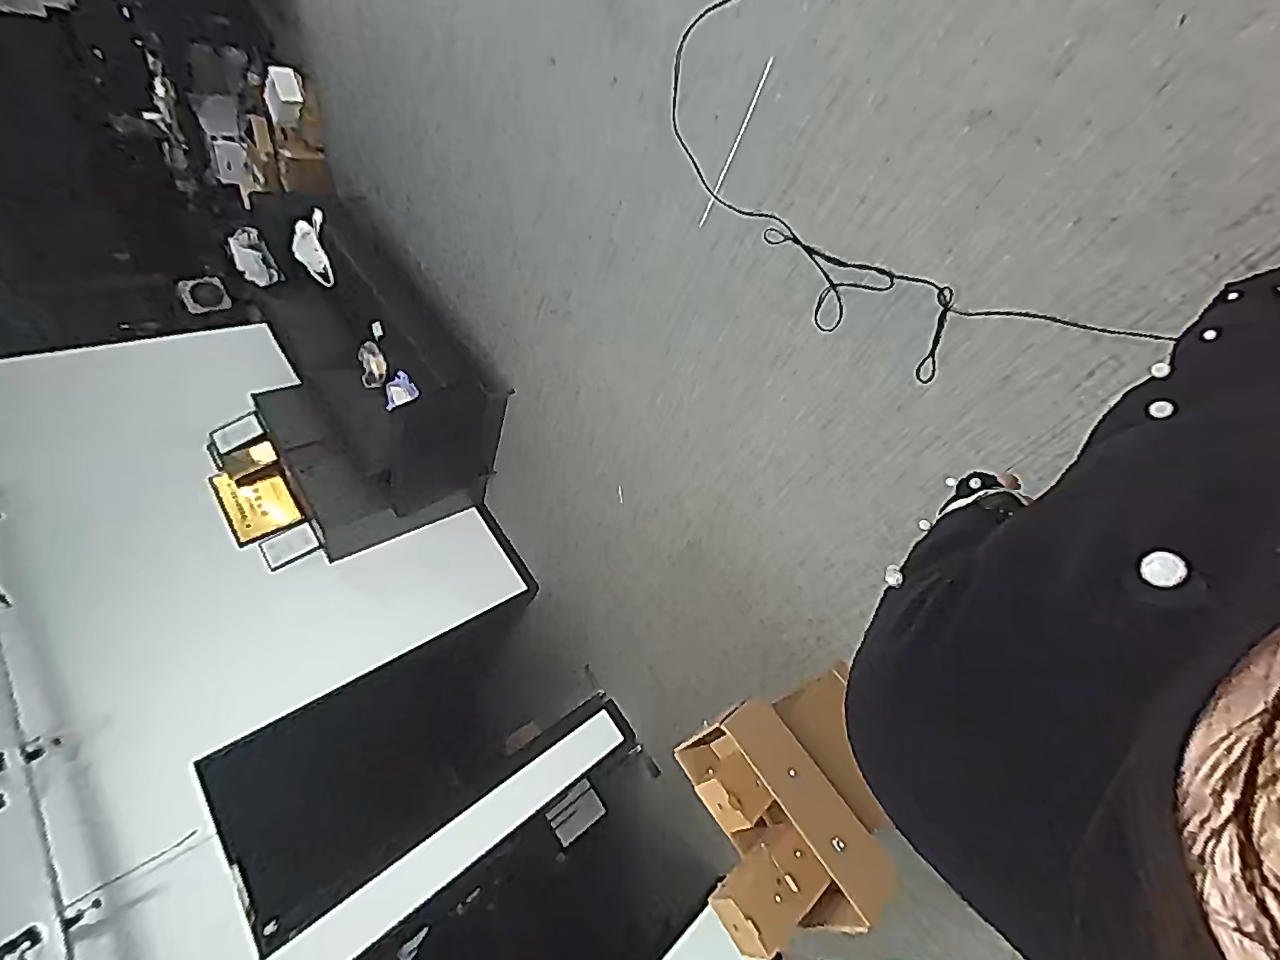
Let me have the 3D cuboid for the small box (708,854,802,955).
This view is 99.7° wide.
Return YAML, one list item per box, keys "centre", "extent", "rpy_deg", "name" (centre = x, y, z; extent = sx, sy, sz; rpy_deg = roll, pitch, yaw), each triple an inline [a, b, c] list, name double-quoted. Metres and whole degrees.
- centre: [0.338, 1.232, 1.580]
  extent: [0.168, 0.176, 0.179]
  rpy_deg: [52, 142, 20]
  name: "small box"

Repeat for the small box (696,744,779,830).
- centre: [0.318, 0.994, 1.756]
  extent: [0.168, 0.176, 0.179]
  rpy_deg: [50, 140, 19]
  name: "small box"
